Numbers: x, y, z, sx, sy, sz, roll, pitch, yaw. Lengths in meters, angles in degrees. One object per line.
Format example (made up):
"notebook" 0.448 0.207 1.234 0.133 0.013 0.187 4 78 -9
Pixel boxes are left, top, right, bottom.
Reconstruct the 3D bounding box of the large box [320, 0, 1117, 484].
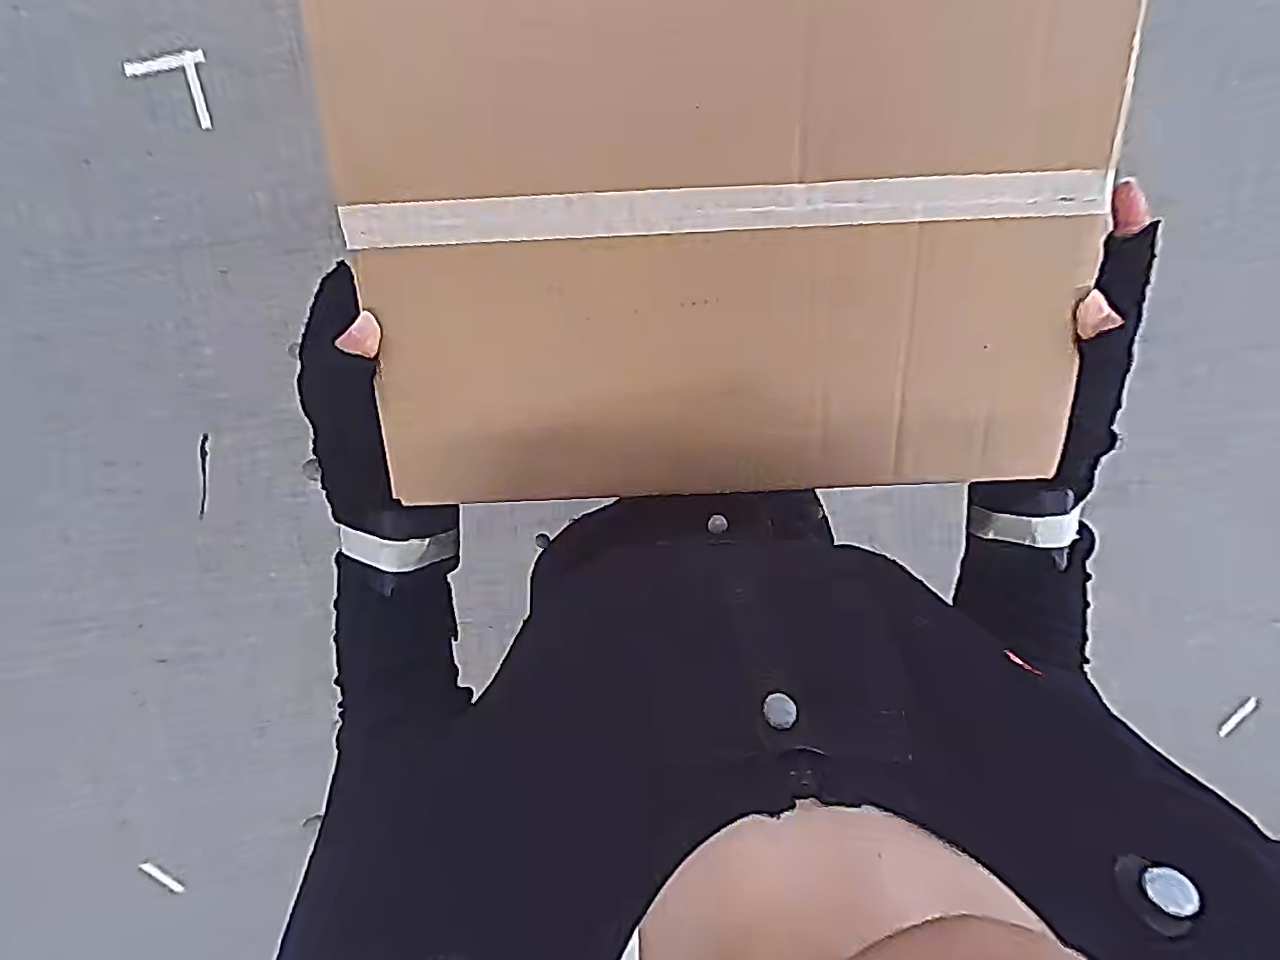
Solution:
"large box" 0.040 -0.198 0.437 0.408 0.320 0.320 -3 108 -1
